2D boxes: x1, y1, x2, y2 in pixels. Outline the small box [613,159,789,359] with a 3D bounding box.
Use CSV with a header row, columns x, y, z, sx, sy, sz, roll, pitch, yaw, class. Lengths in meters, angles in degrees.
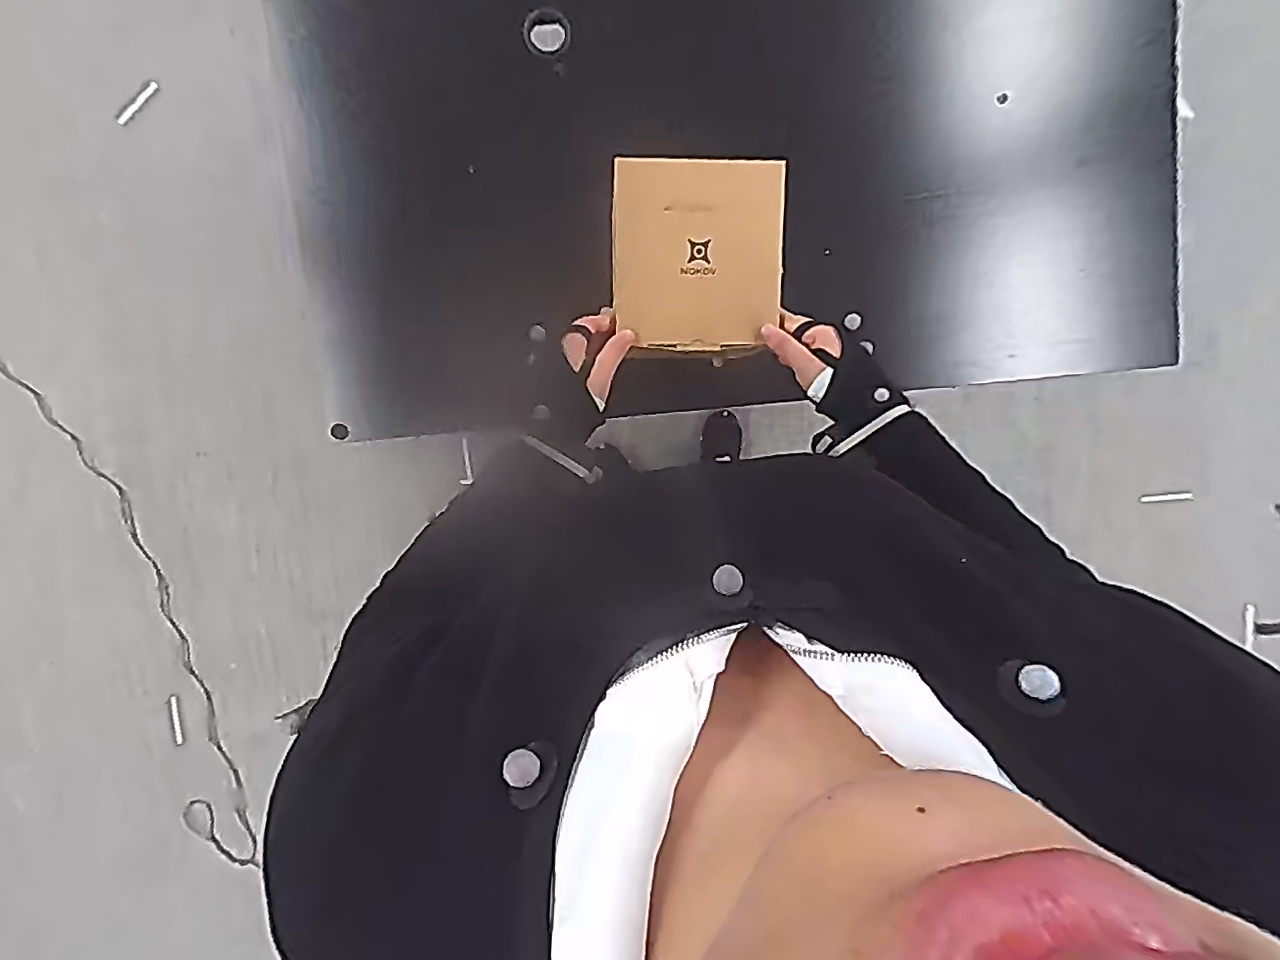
x,y,z,sx,sy,sz,roll,pitch,yaw,class
0.055,-0.227,0.598,0.168,0.176,0.179,-2,98,-4,small box
